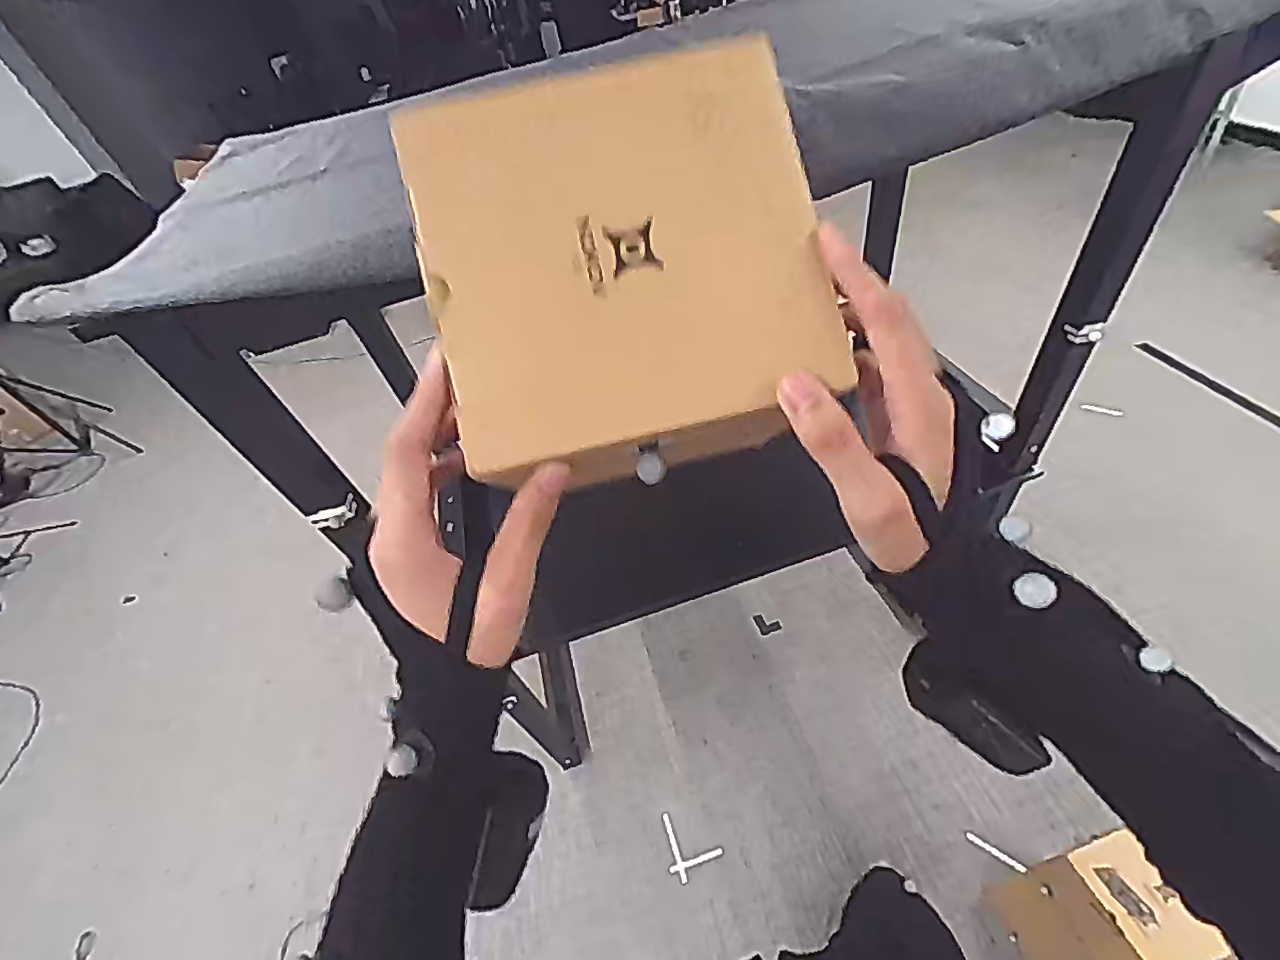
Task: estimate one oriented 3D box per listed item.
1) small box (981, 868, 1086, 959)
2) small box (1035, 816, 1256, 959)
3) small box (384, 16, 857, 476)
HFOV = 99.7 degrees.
[{"bbox_3d":[0.844,0.899,1.101,0.179,0.176,0.168,-19,47,-4],"label":"small box"},{"bbox_3d":[0.781,0.676,0.867,0.179,0.176,0.168,-19,48,-5],"label":"small box"},{"bbox_3d":[-0.010,-0.101,0.309,0.179,0.176,0.168,-13,88,-1],"label":"small box"}]
